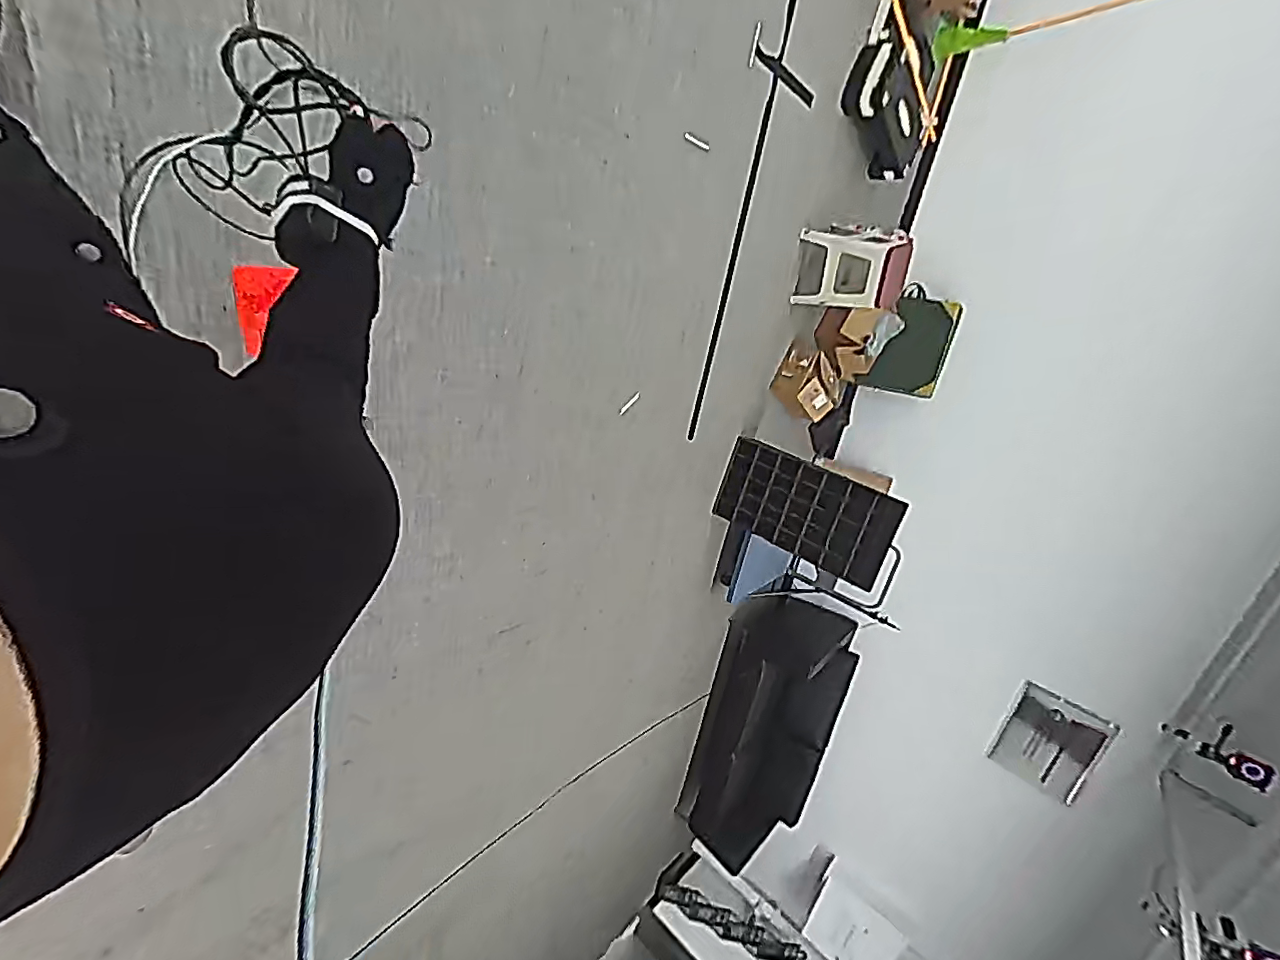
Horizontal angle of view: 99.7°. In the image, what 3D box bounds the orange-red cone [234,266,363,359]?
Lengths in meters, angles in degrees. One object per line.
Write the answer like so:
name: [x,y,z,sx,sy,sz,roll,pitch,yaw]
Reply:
orange-red cone: [-0.687,-0.323,1.155,0.199,0.360,0.198,-19,127,-47]
